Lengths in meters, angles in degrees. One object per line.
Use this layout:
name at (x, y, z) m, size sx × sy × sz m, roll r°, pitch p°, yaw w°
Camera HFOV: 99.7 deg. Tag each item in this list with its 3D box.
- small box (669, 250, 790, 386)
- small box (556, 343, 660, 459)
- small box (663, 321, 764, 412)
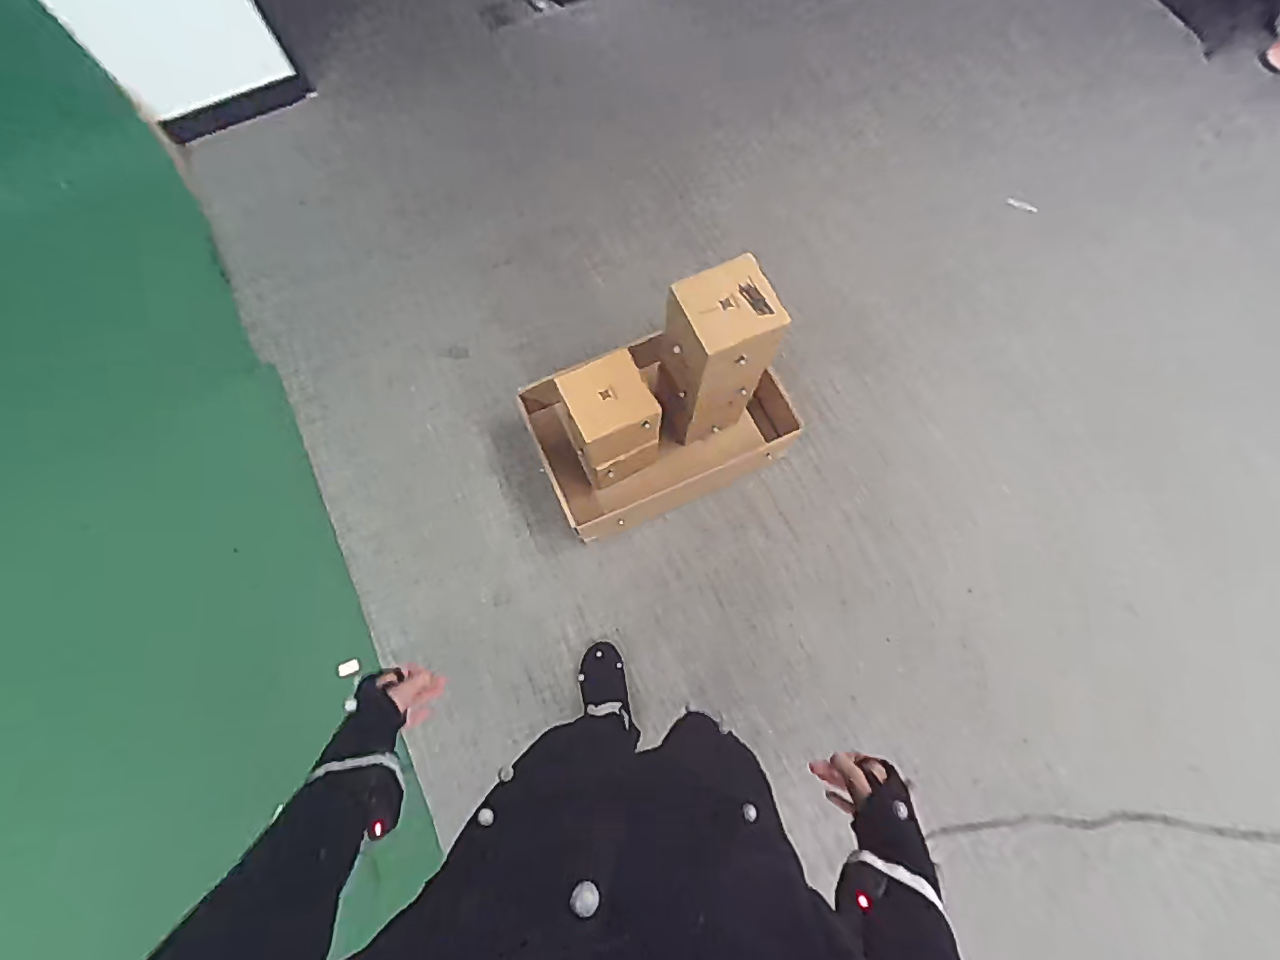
small box at (0.168, -0.317, 1.084) m, size 0.179 × 0.176 × 0.168 m, roll -23°, pitch 76°, yaw -5°
small box at (-0.068, -0.169, 1.213) m, size 0.179 × 0.176 × 0.168 m, roll -26°, pitch 76°, yaw -9°
small box at (0.161, -0.275, 1.242) m, size 0.168 × 0.176 × 0.179 m, roll -23°, pitch 75°, yaw -7°
